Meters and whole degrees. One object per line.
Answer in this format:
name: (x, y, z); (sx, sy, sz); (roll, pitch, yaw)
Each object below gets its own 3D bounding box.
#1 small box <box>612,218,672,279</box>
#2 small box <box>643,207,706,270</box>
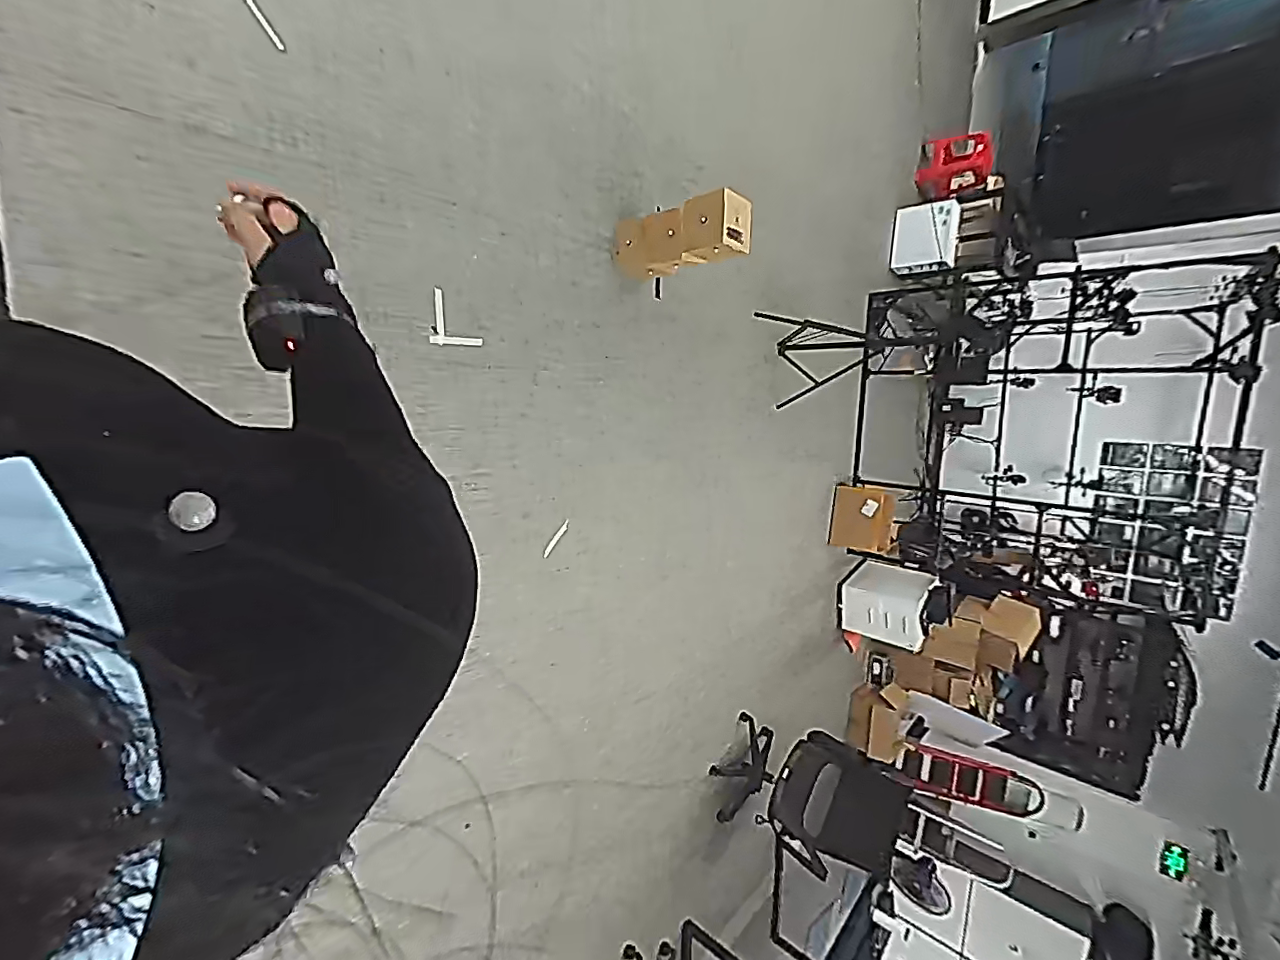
small box: (0.010, -0.881, 2.075); (0.179, 0.176, 0.168); (-4, 100, -49)
small box: (0.125, -0.867, 1.961); (0.168, 0.176, 0.179); (-17, 108, -46)
